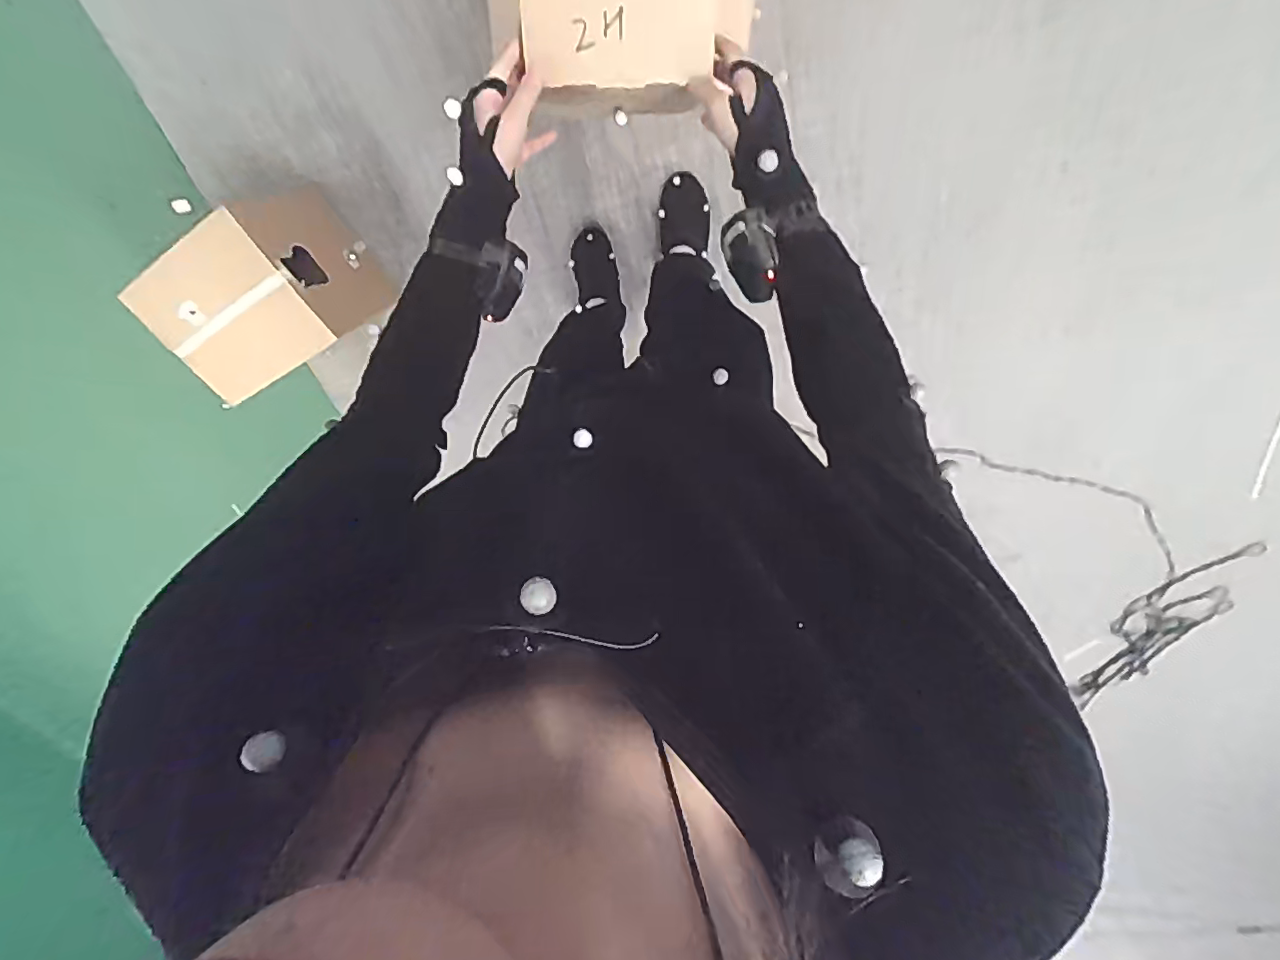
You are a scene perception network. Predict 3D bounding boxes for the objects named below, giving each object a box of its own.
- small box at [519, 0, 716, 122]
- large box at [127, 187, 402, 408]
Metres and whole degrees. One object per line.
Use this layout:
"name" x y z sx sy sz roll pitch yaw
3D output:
"small box" -0.022 -0.452 0.505 0.168 0.176 0.179 -1 117 -1
"large box" -0.883 -0.442 1.317 0.408 0.320 0.320 -20 119 22
